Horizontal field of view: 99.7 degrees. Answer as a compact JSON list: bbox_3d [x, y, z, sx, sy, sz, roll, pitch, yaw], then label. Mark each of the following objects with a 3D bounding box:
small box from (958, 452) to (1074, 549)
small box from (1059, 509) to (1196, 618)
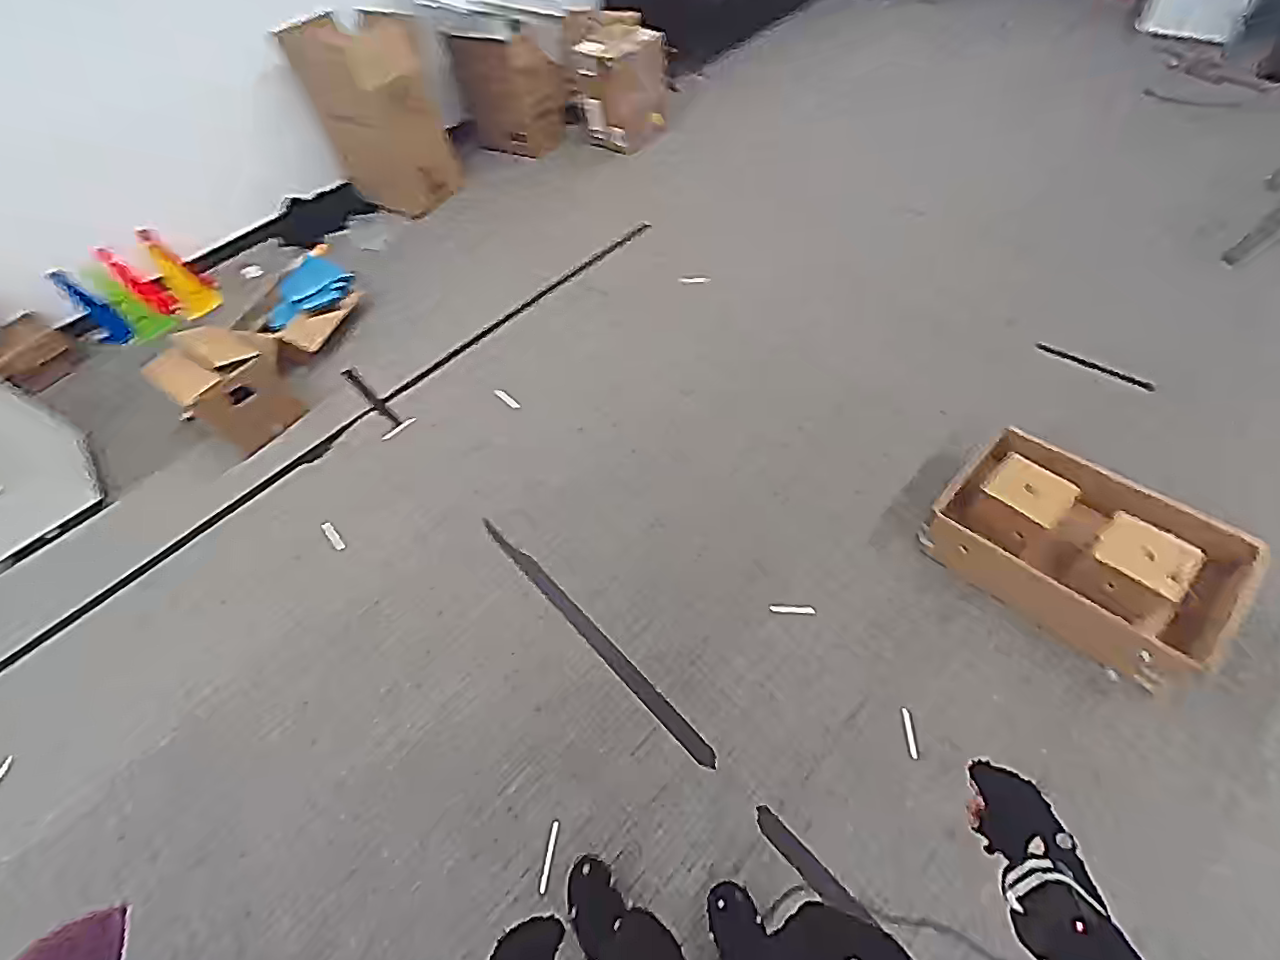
[{"bbox_3d":[1.015,0.064,1.473,0.168,0.176,0.179,-40,58,-18],"label":"small box"},{"bbox_3d":[1.193,0.211,1.338,0.168,0.176,0.179,-42,57,-18],"label":"small box"}]
